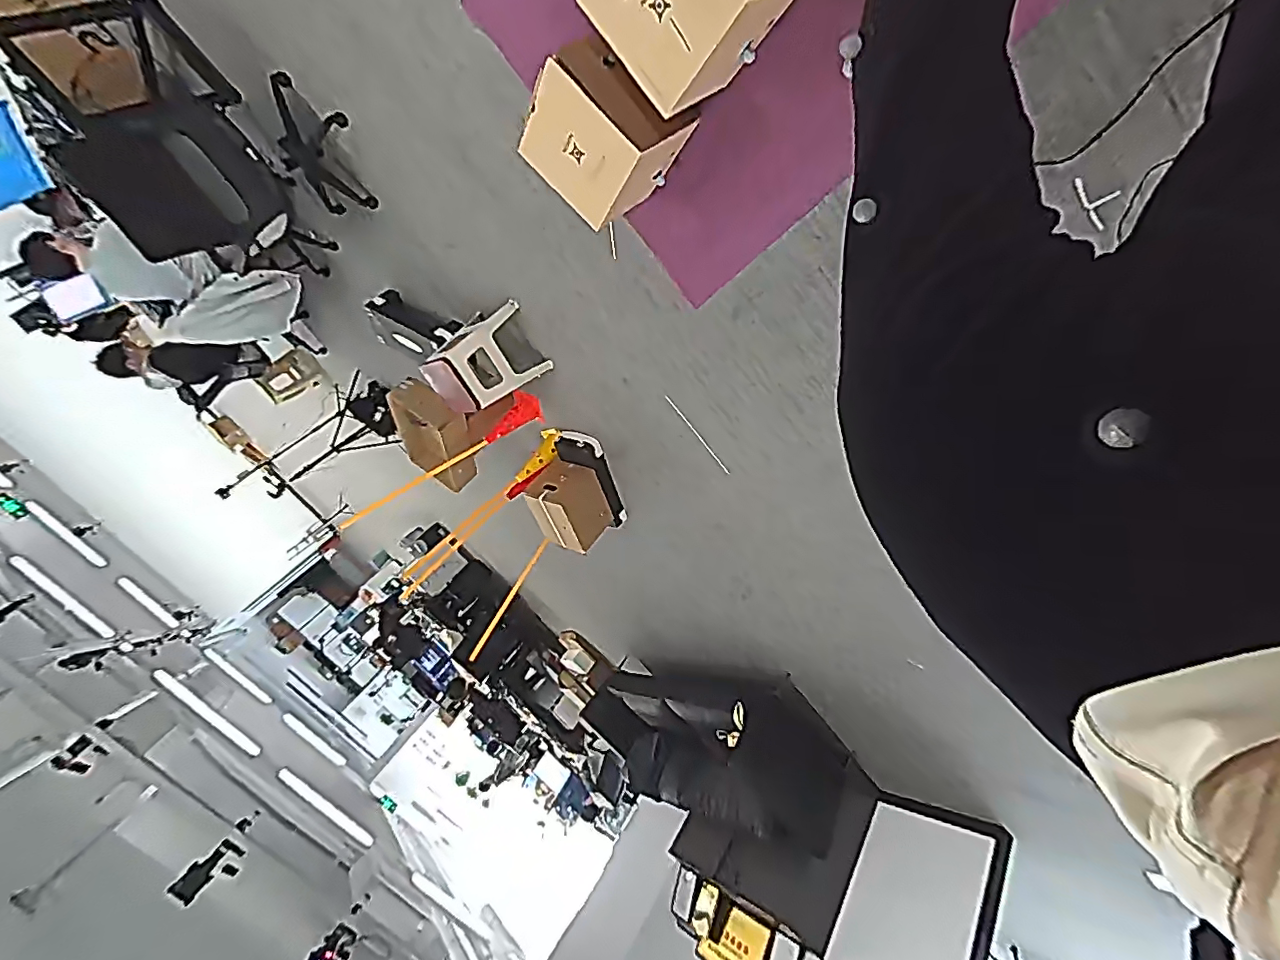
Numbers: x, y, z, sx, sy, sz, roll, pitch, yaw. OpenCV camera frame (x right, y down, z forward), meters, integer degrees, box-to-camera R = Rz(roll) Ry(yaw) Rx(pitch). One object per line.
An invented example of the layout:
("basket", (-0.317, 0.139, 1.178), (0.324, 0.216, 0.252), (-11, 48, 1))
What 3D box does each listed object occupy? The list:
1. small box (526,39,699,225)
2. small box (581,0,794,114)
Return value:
("small box", (-0.043, -0.554, 0.858), (0.179, 0.176, 0.168), (46, 150, -8))
("small box", (0.066, -0.608, 0.666), (0.179, 0.176, 0.168), (48, 149, -12))
